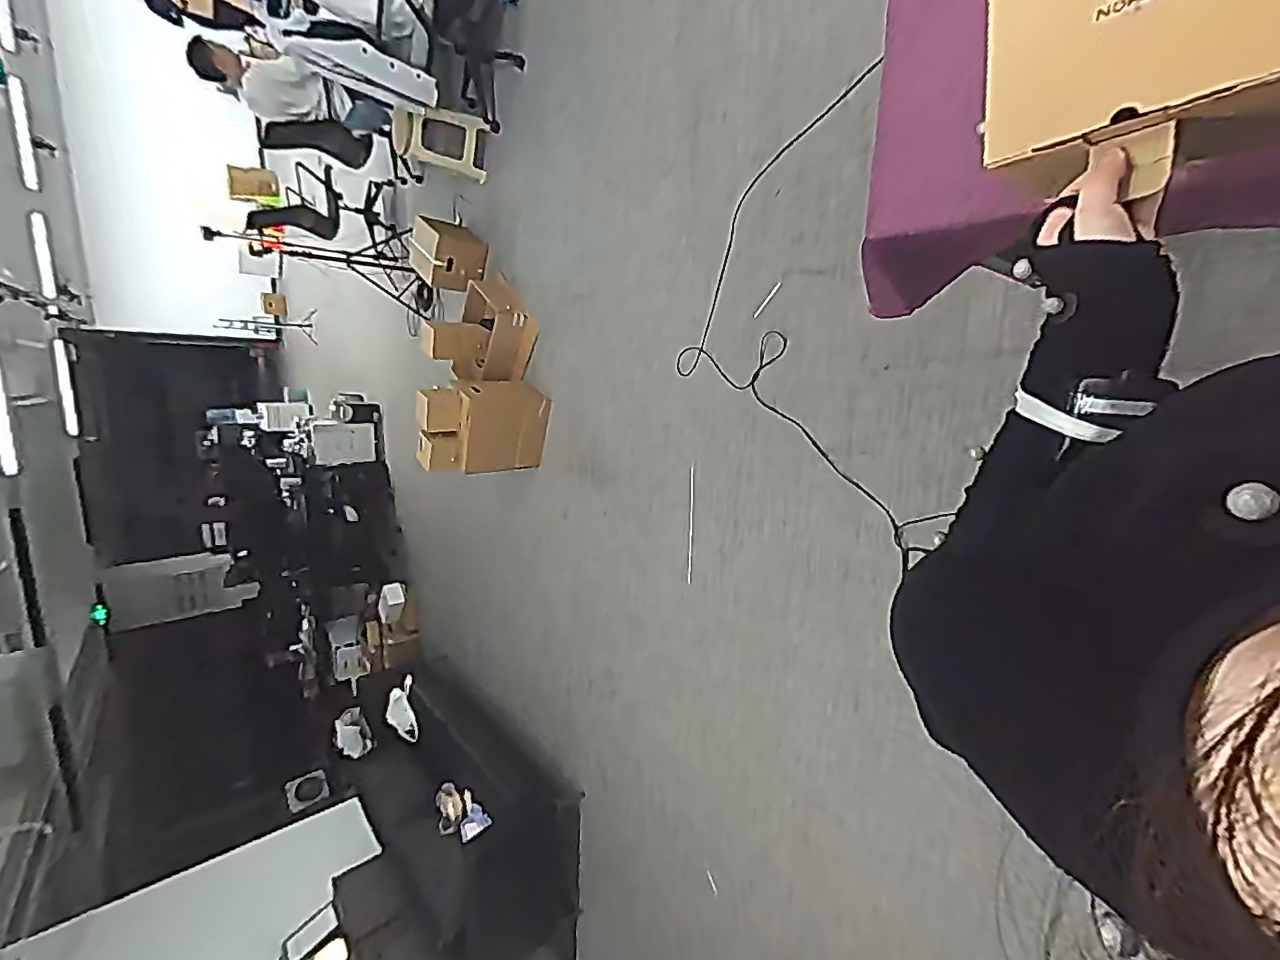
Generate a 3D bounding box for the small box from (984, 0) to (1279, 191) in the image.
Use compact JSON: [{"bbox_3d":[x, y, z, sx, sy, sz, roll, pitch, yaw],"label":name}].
[{"bbox_3d":[0.384,-0.346,0.410,0.168,0.176,0.179,7,107,49],"label":"small box"}]
